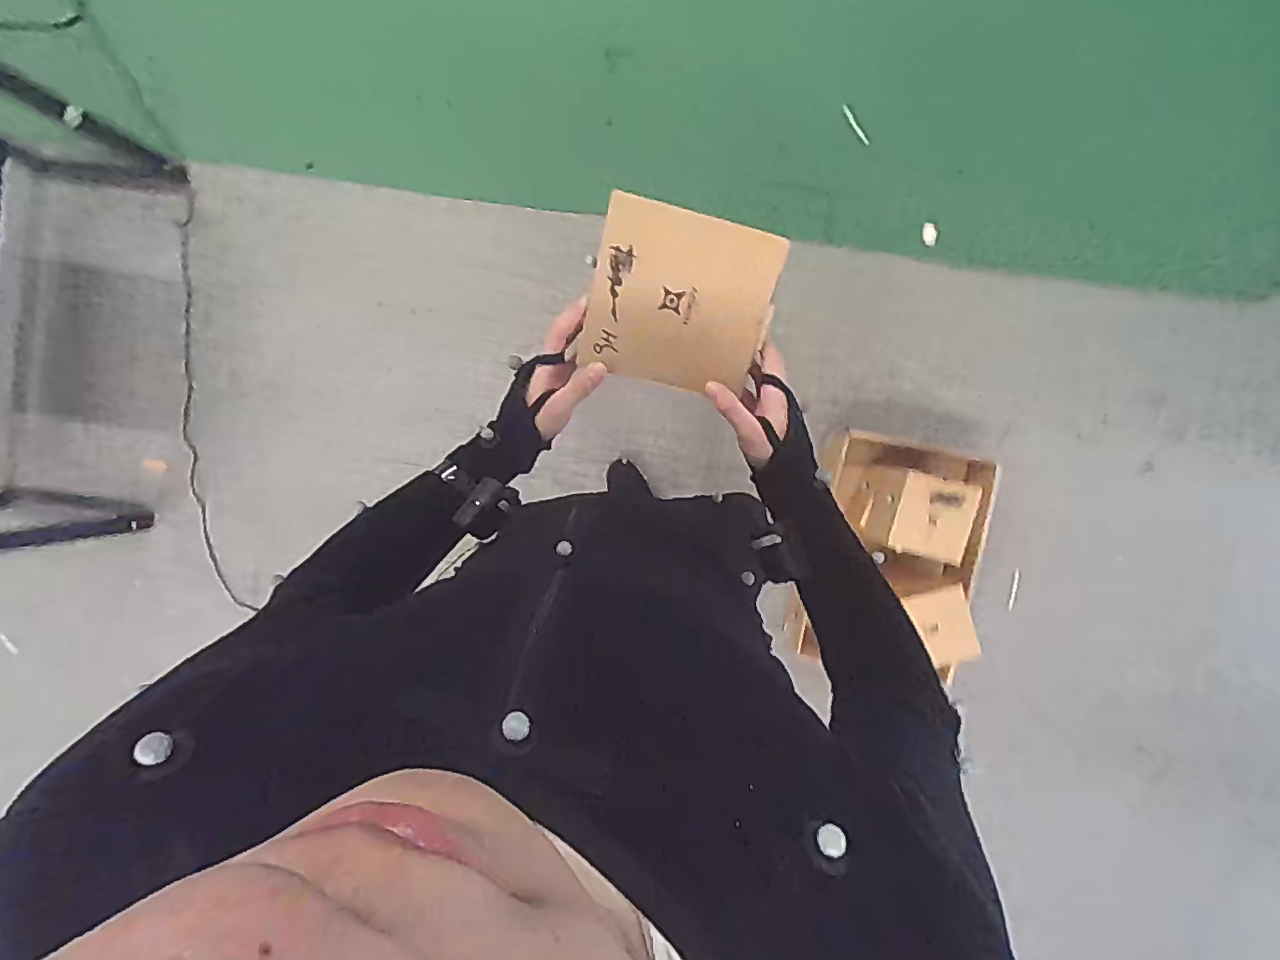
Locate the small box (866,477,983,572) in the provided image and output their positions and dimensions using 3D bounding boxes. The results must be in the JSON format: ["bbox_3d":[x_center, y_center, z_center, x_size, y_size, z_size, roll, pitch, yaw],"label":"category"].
[{"bbox_3d":[0.657,0.096,1.272,0.168,0.176,0.179,16,95,4],"label":"small box"}]

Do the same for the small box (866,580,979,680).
[{"bbox_3d":[0.656,0.350,1.282,0.179,0.176,0.168,-15,91,5],"label":"small box"}]

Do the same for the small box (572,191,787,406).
[{"bbox_3d":[0.032,-0.194,0.595,0.179,0.176,0.168,13,107,-6],"label":"small box"}]
